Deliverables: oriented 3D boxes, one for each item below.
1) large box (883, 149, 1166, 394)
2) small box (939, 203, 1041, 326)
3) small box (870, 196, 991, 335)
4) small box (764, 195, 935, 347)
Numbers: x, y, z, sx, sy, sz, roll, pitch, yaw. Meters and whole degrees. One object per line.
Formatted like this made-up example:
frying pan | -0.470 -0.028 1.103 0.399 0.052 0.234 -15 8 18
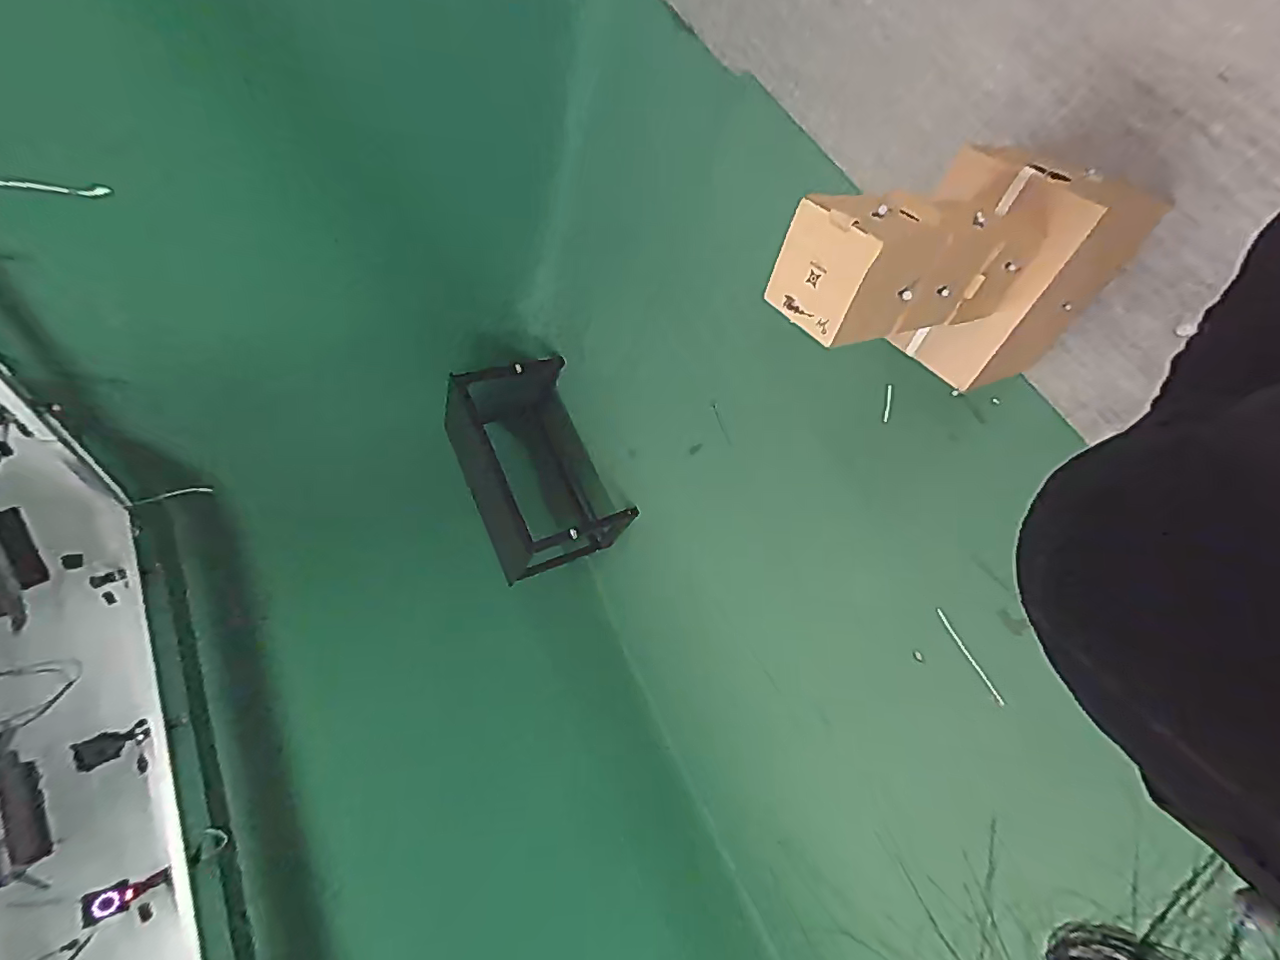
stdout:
large box | 0.807 -0.467 1.206 0.320 0.320 0.408 53 146 32
small box | 0.619 -0.425 1.049 0.179 0.176 0.168 53 144 31
small box | 0.483 -0.387 0.967 0.168 0.176 0.179 52 144 32
small box | 0.344 -0.345 0.889 0.168 0.176 0.179 53 143 31
